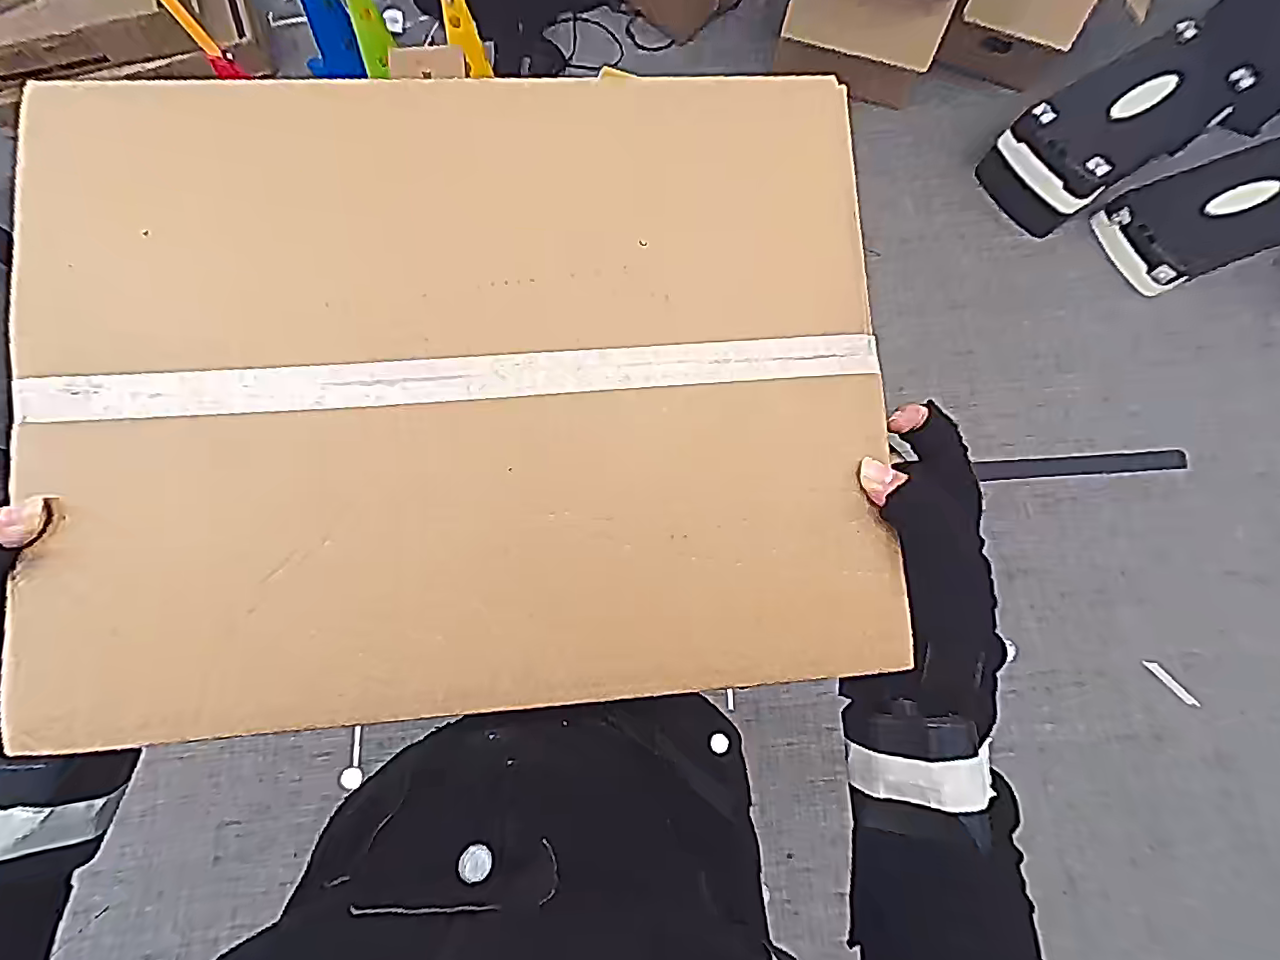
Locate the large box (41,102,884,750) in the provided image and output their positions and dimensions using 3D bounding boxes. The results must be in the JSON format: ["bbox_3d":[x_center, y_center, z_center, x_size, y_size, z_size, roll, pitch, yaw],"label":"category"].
[{"bbox_3d":[-0.092,-0.030,0.422,0.408,0.320,0.320,-4,84,-5],"label":"large box"}]
